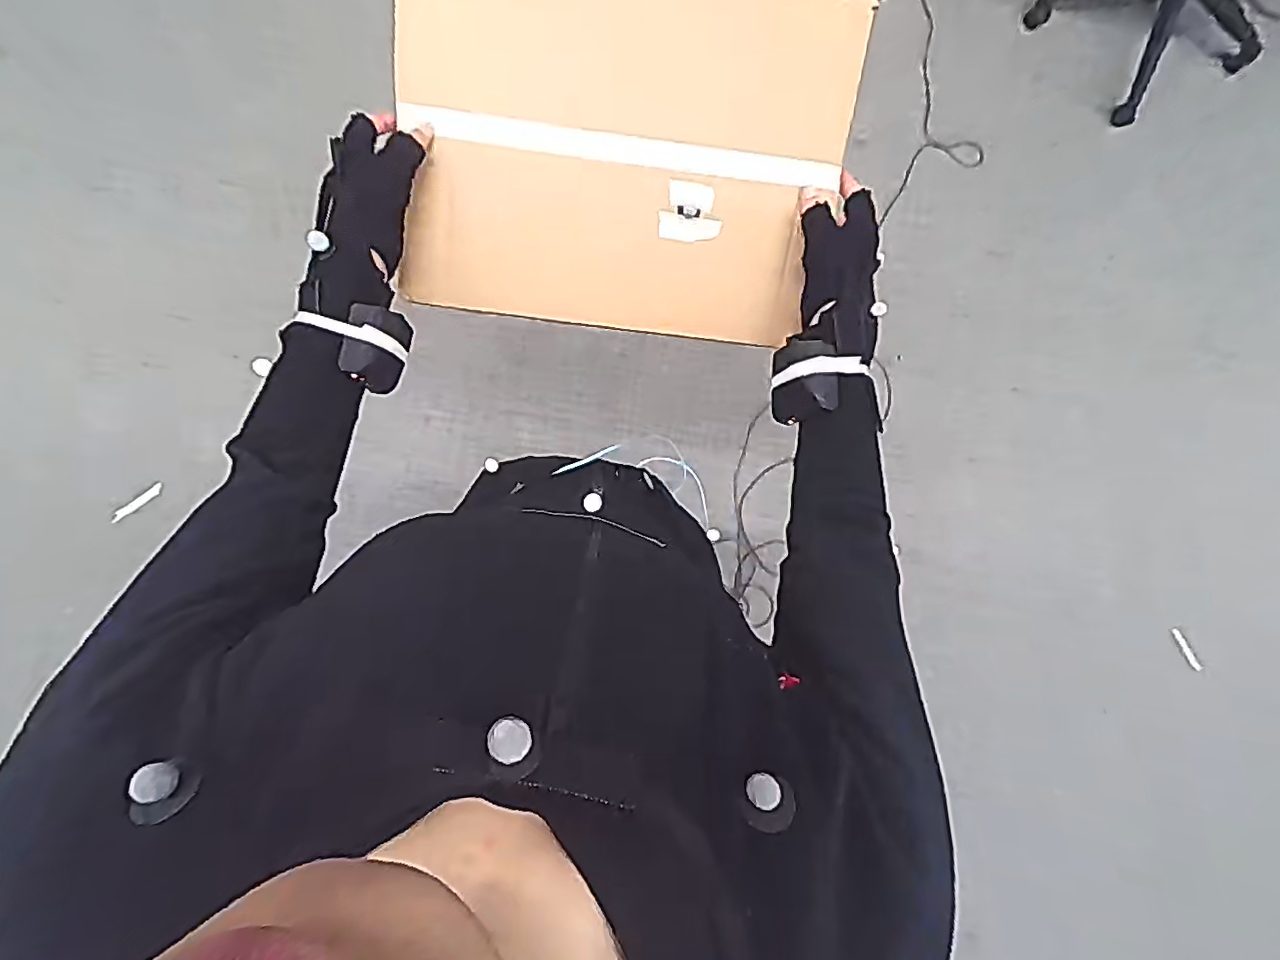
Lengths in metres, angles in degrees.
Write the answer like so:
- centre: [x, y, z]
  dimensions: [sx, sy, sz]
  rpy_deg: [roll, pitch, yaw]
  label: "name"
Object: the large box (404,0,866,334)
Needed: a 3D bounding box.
- centre: [-0.022, -0.355, 0.640]
  dimensions: [0.408, 0.320, 0.320]
  rpy_deg: [6, 107, -5]
  label: "large box"
